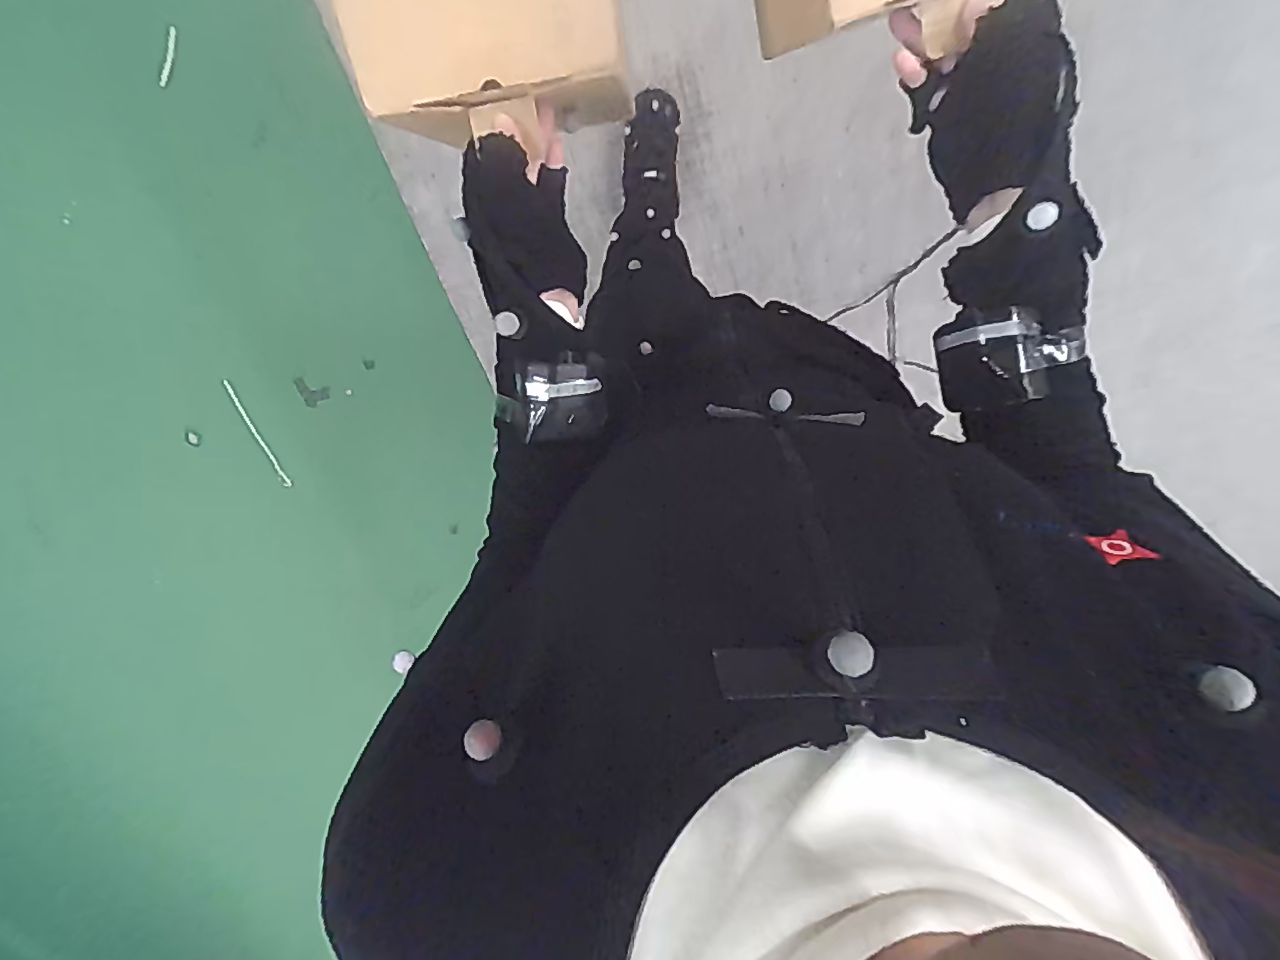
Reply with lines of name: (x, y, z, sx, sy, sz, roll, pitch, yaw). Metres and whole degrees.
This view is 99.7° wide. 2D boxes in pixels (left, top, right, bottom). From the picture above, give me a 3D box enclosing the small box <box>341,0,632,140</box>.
small box: (-0.100, -0.357, 0.379, 0.168, 0.176, 0.179, -8, 113, 5)
